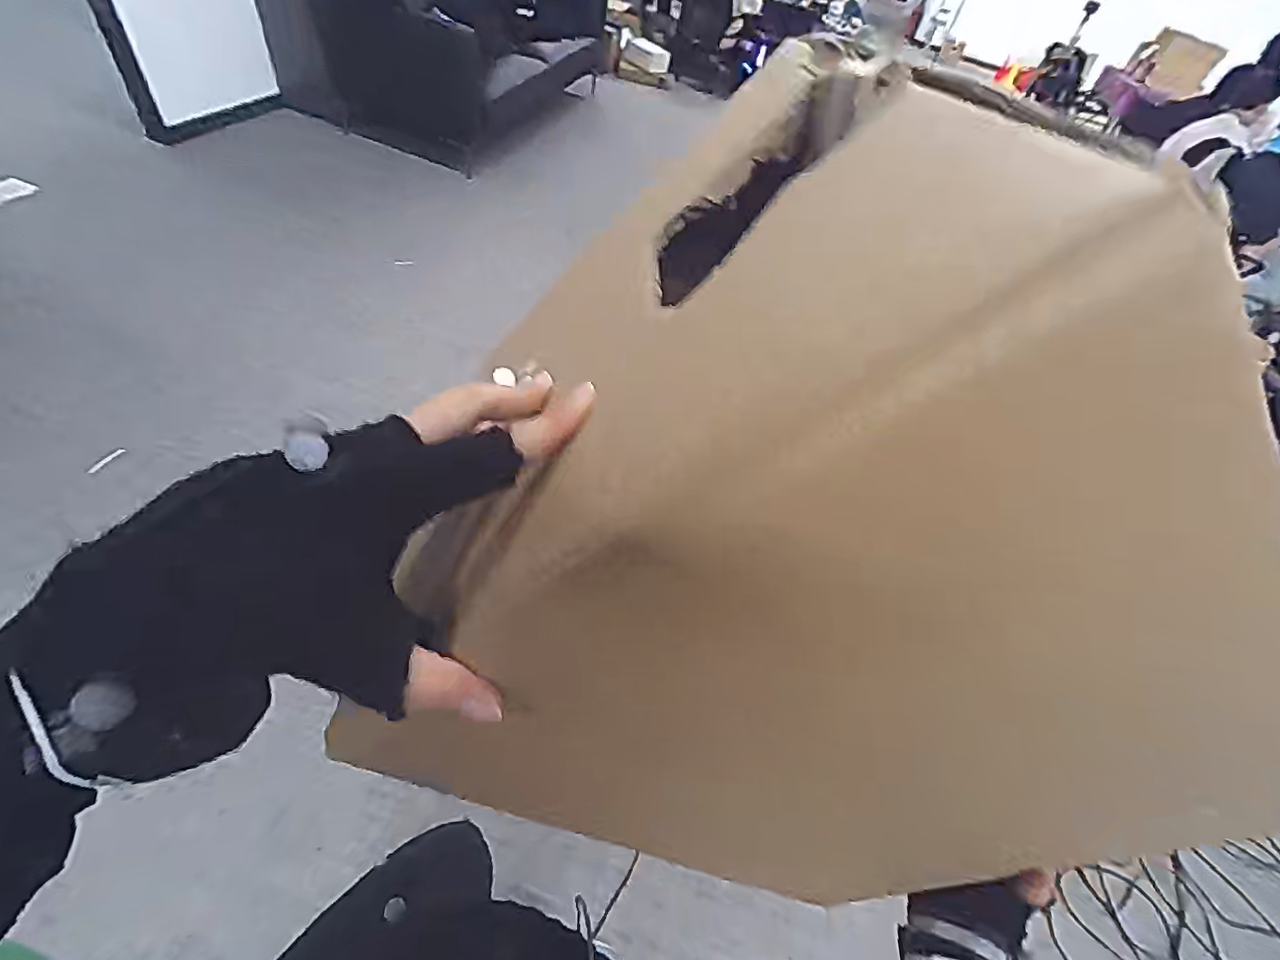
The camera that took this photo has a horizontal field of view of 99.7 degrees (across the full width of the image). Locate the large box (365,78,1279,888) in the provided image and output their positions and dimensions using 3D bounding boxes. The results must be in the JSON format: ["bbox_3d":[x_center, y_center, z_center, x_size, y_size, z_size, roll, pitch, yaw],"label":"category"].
[{"bbox_3d":[0.115,0.043,0.373,0.408,0.320,0.320,39,33,-29],"label":"large box"}]
